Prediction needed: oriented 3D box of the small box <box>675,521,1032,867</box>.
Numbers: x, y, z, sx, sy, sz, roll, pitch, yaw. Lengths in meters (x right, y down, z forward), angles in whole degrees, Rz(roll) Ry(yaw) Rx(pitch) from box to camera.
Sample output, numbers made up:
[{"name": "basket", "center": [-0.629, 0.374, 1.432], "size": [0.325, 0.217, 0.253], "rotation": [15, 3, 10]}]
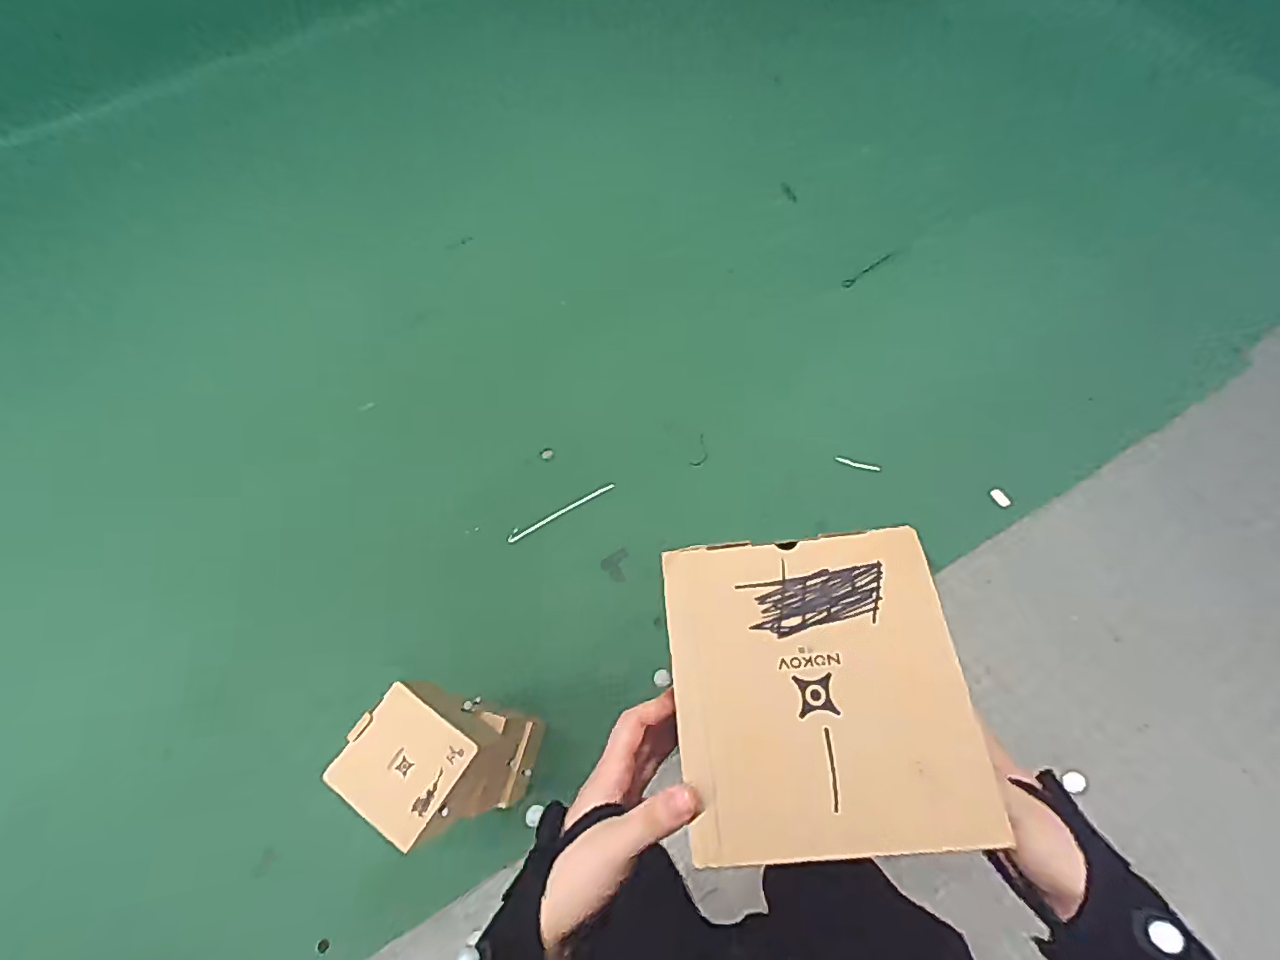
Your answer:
[{"name": "small box", "center": [0.116, 0.147, 0.382], "size": [0.168, 0.176, 0.179], "rotation": [-8, 64, 3]}]

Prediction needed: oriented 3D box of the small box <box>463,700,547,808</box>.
[{"name": "small box", "center": [-0.317, 0.582, 1.174], "size": [0.179, 0.176, 0.168], "rotation": [13, 69, 8]}]

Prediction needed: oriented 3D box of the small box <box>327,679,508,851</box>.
[{"name": "small box", "center": [-0.346, 0.448, 0.875], "size": [0.179, 0.176, 0.168], "rotation": [31, 73, 14]}]
